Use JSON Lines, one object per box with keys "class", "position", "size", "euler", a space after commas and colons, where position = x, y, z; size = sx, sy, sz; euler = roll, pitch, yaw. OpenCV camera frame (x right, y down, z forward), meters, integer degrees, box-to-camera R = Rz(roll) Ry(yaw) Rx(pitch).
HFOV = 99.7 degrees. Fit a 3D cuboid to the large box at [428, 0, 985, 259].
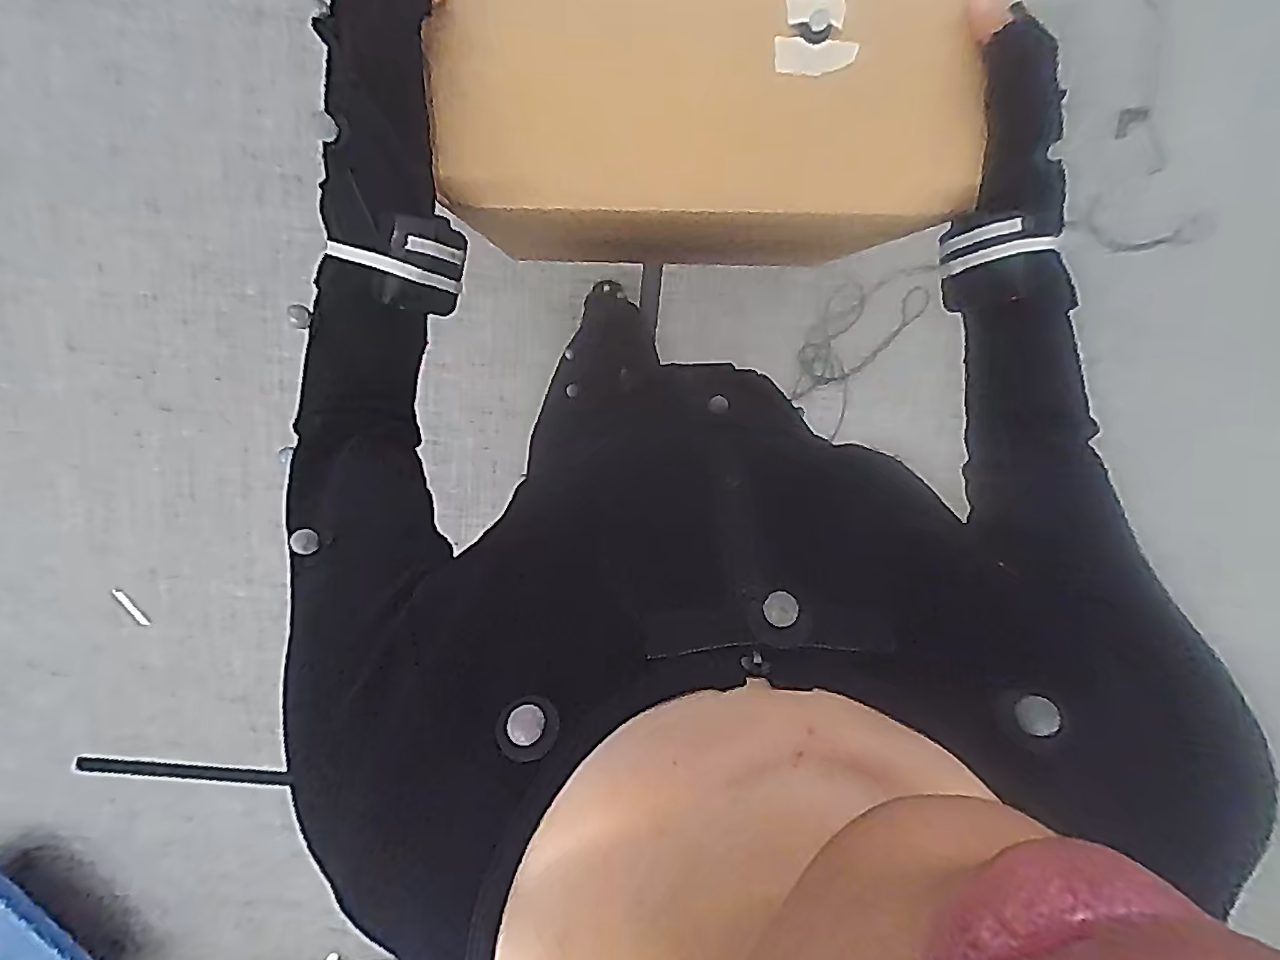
{"class": "large box", "position": [0.041, -0.400, 0.517], "size": [0.408, 0.320, 0.320], "euler": [-1, 105, -4]}
